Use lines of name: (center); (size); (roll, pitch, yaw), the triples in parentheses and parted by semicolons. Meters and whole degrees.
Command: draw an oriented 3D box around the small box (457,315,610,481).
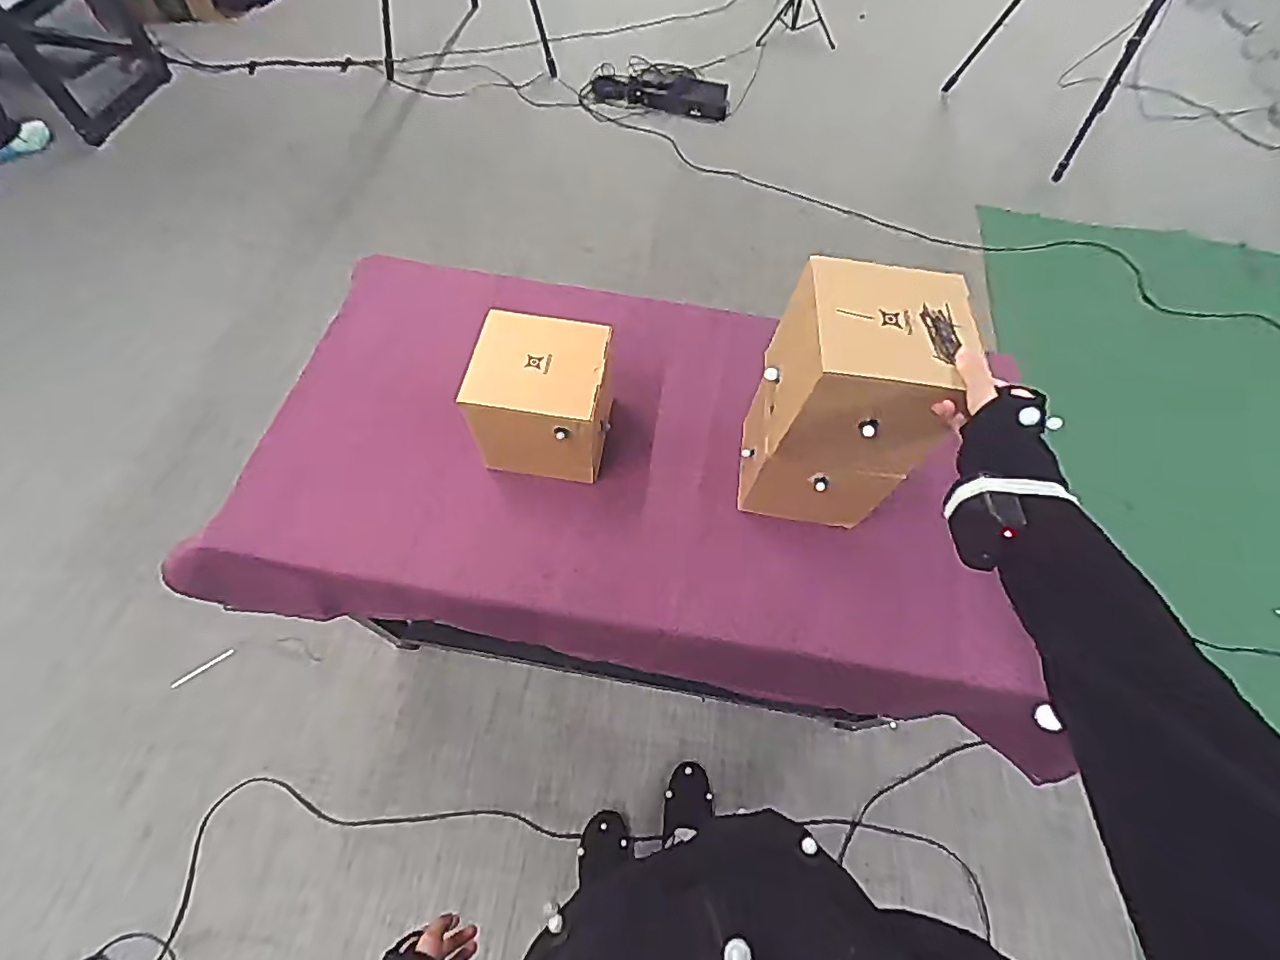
small box: (-0.142, -0.113, 0.793); (0.179, 0.176, 0.168); (8, 61, 0)

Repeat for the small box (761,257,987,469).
small box: (0.251, -0.125, 0.628); (0.179, 0.176, 0.168); (6, 61, -2)

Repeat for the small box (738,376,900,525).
small box: (0.245, -0.048, 0.777); (0.179, 0.176, 0.168); (10, 62, 1)
